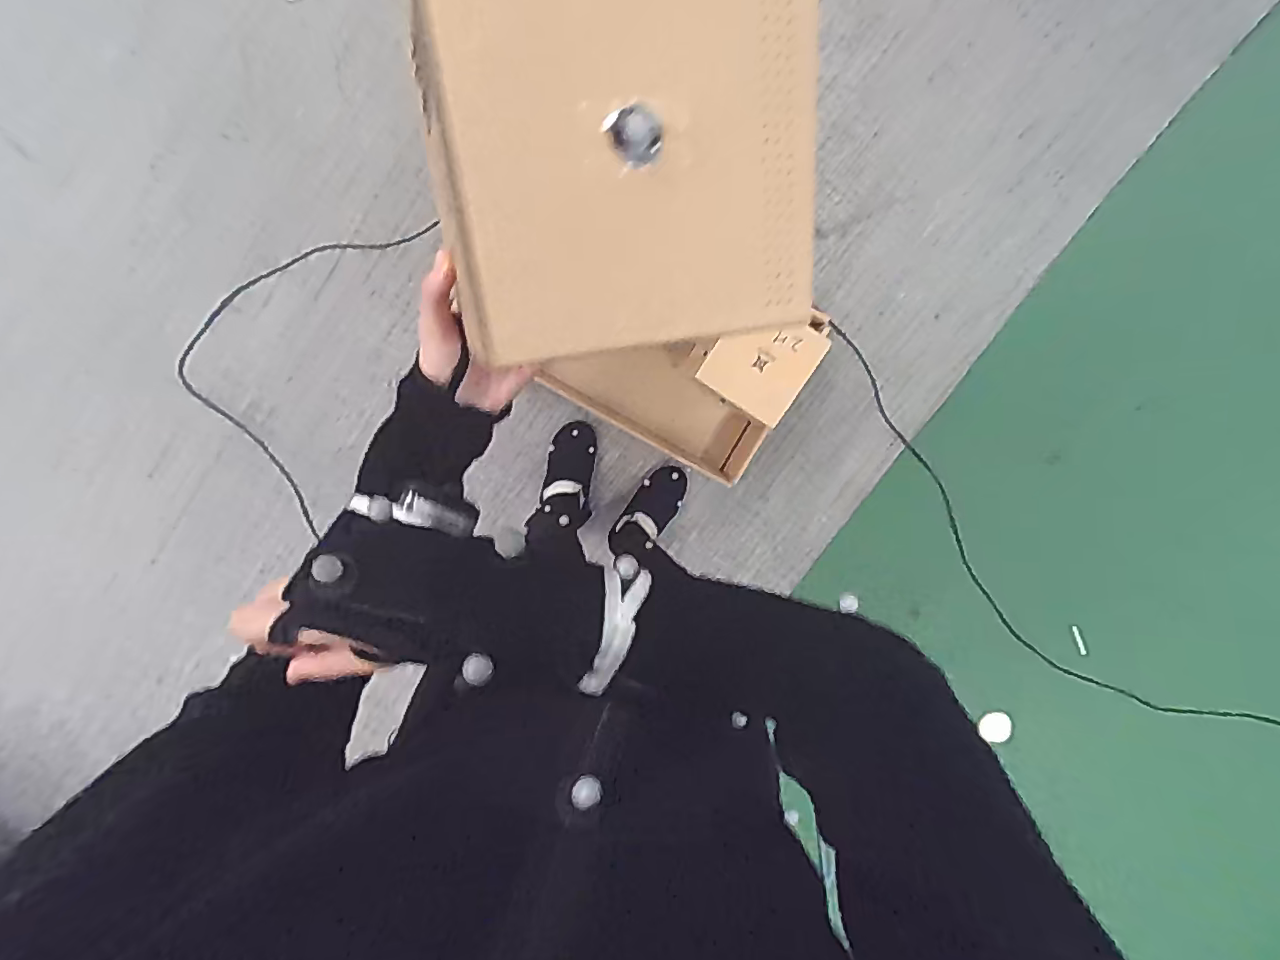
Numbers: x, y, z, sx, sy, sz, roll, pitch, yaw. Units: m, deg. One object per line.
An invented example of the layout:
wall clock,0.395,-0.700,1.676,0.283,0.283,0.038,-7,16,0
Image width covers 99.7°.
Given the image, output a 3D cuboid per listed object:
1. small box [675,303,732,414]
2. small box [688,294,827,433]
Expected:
small box,0.188,-0.244,1.147,0.179,0.176,0.168,33,98,-5
small box,0.201,-0.207,0.986,0.168,0.176,0.179,33,97,-7
